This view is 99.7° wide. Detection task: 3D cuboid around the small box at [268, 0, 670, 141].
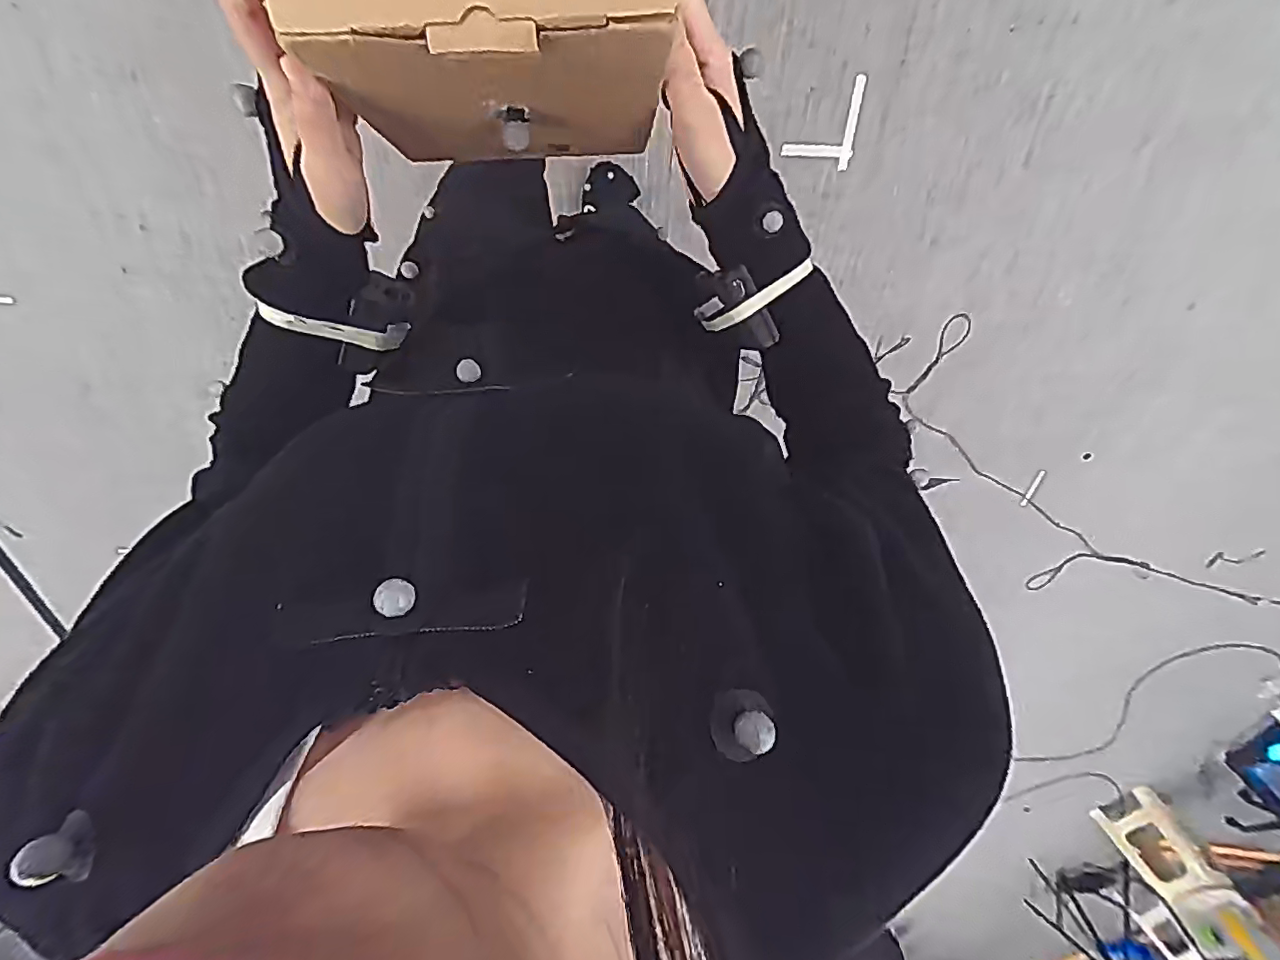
[{"bbox_3d":[-0.075,-0.289,0.272,0.168,0.176,0.179,-4,106,-3],"label":"small box"}]
